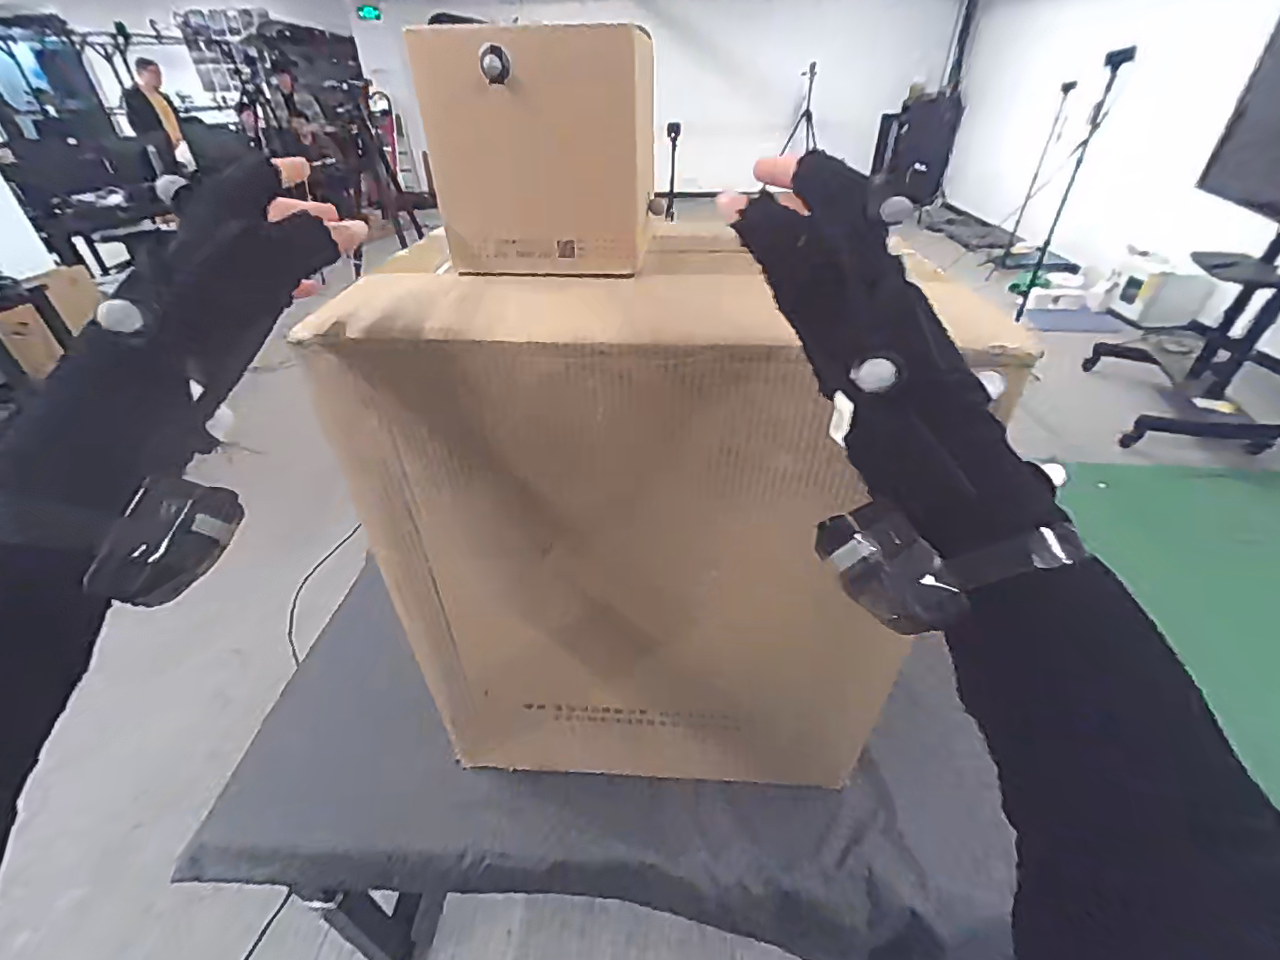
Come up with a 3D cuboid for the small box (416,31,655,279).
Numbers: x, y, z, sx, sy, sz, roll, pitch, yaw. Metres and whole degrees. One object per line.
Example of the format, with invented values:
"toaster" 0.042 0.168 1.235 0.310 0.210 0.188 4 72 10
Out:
"small box" -0.075 -0.294 0.497 0.168 0.176 0.179 2 35 5
